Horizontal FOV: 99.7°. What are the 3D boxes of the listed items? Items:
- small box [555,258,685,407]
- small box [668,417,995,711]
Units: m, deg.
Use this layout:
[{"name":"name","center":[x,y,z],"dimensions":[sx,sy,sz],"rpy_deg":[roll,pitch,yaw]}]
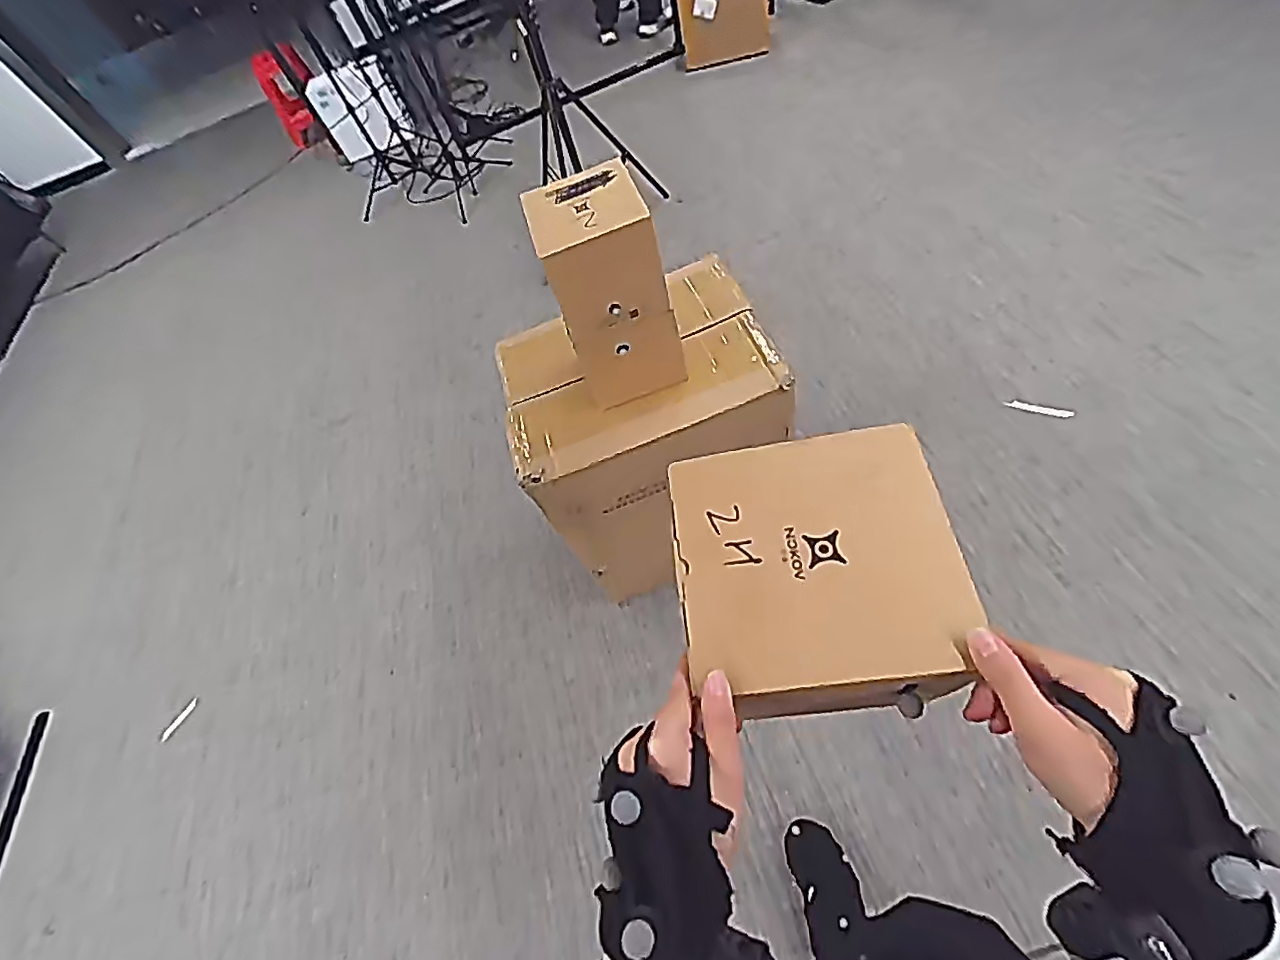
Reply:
[{"name":"small box","center":[-0.033,-0.260,0.982],"dimensions":[0.179,0.176,0.168],"rpy_deg":[-20,55,2]},{"name":"small box","center":[0.126,0.077,0.420],"dimensions":[0.179,0.176,0.168],"rpy_deg":[-10,60,9]}]
